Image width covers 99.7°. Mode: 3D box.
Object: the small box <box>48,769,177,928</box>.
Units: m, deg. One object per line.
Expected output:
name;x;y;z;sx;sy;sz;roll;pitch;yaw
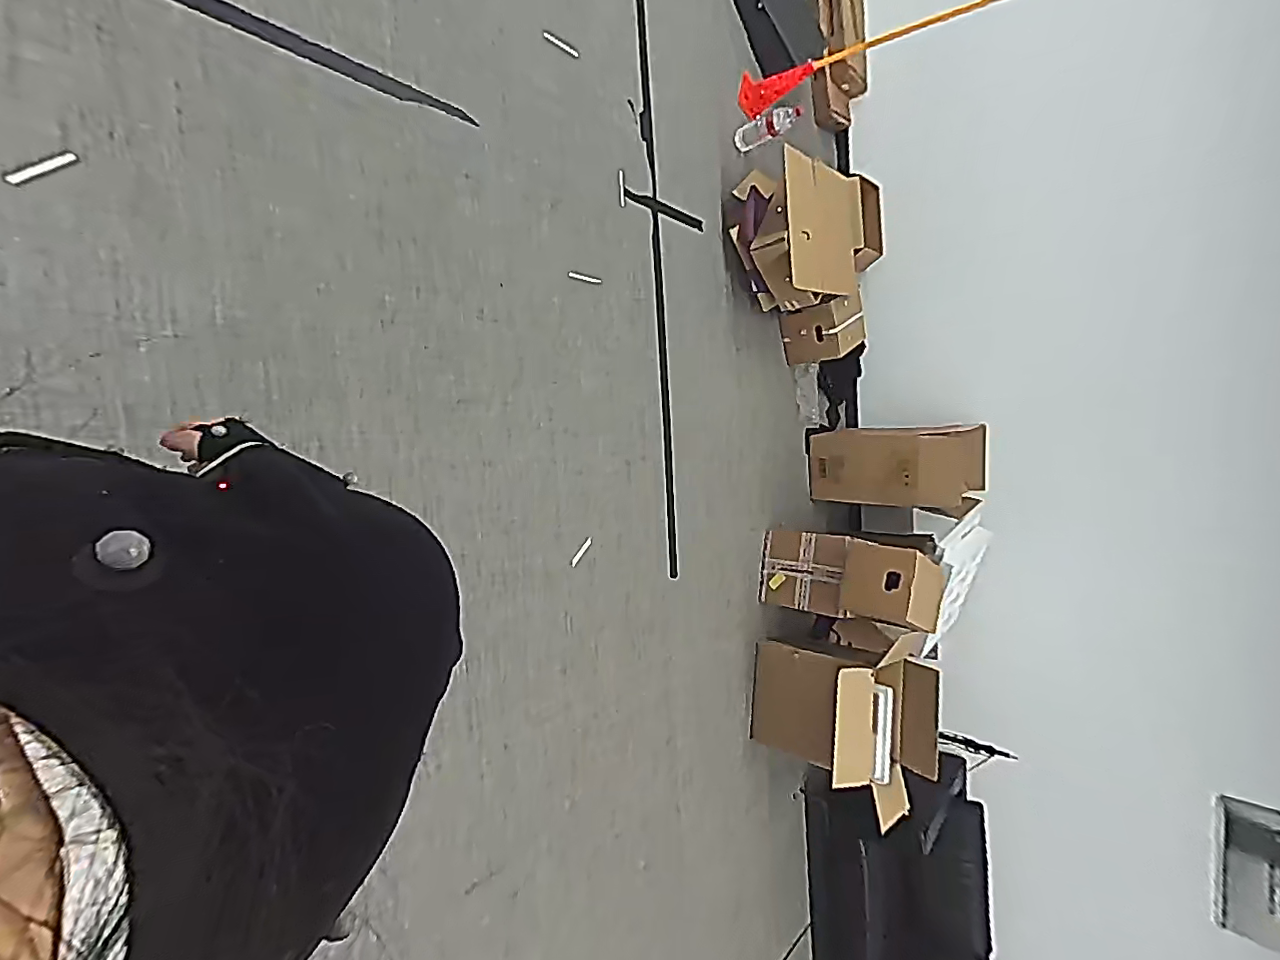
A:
small box;-1.015;0.686;1.040;0.168;0.176;0.179;-4;93;-47
